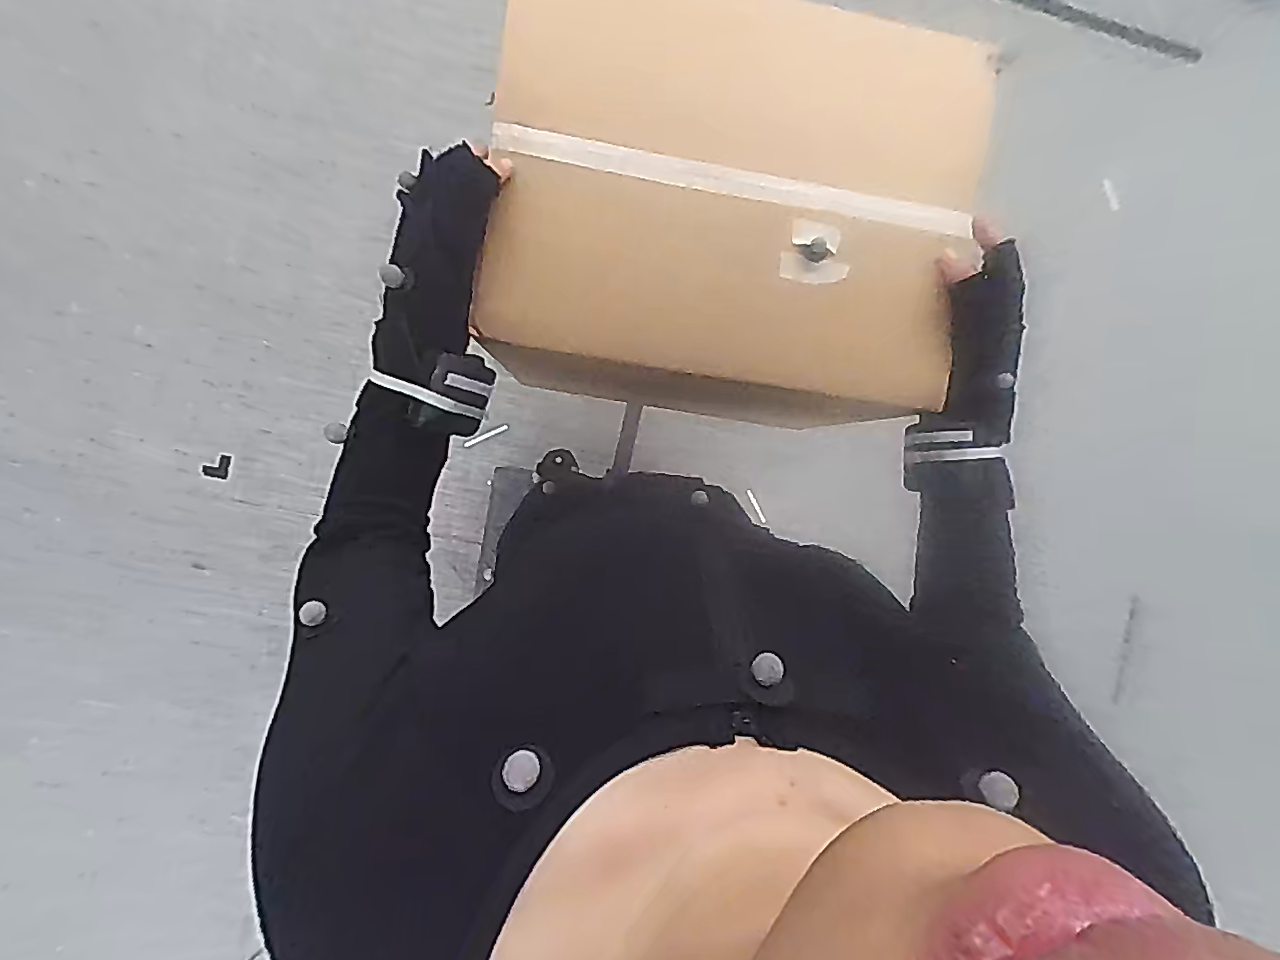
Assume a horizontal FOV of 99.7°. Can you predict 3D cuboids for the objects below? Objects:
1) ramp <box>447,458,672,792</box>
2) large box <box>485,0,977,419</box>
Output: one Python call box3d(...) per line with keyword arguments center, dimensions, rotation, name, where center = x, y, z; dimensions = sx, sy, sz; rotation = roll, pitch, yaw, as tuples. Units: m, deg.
box3d(center=(-0.248, 0.460, 1.576), dimensions=(0.509, 0.206, 0.991), rotation=(10, 91, -7), name="ramp")
box3d(center=(0.068, -0.255, 0.605), dimensions=(0.408, 0.320, 0.320), rotation=(8, 92, -6), name="large box")
